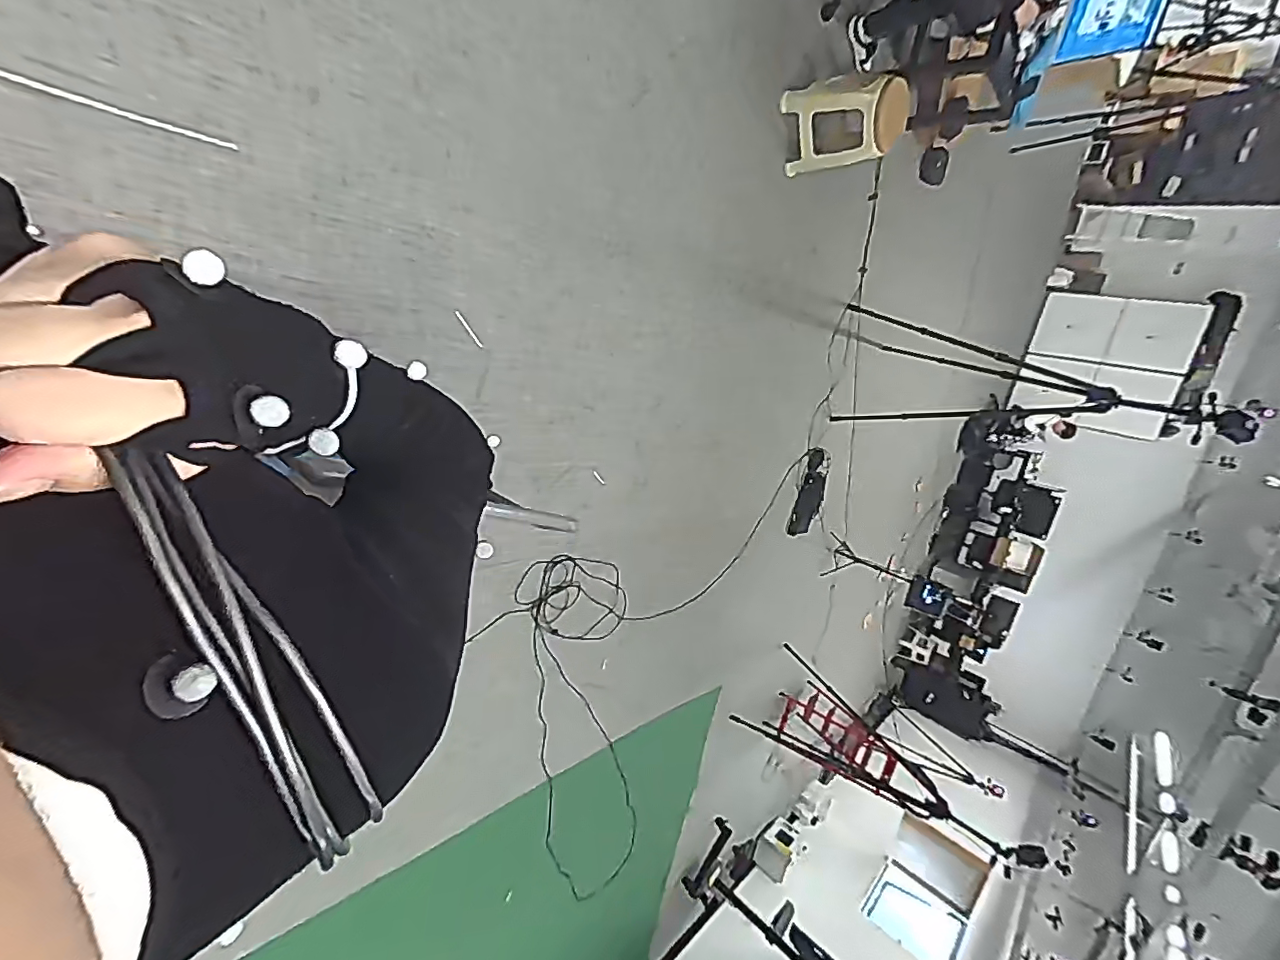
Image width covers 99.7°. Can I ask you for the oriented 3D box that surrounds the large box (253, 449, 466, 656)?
[{"bbox_3d":[-0.708,0.176,1.368,0.320,0.320,0.408,18,95,-51],"label":"large box"}]
